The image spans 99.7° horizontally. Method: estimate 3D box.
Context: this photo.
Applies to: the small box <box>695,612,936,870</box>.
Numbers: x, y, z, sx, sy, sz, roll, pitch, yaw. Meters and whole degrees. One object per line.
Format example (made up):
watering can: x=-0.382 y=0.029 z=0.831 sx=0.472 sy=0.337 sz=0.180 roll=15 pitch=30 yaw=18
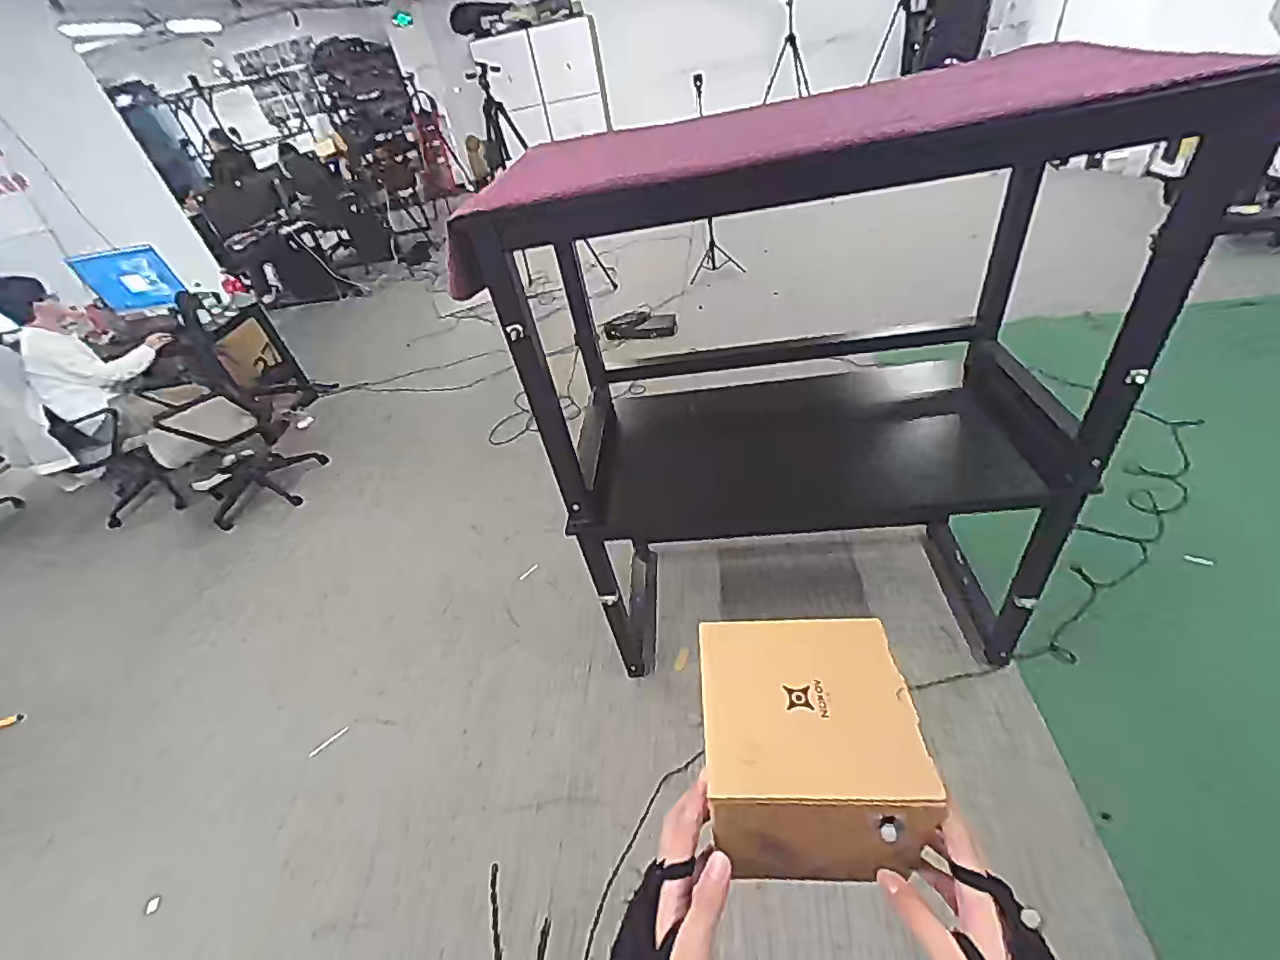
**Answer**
small box: x=0.147 y=0.247 z=0.514 sx=0.179 sy=0.176 sz=0.168 roll=-4 pitch=37 yaw=7
